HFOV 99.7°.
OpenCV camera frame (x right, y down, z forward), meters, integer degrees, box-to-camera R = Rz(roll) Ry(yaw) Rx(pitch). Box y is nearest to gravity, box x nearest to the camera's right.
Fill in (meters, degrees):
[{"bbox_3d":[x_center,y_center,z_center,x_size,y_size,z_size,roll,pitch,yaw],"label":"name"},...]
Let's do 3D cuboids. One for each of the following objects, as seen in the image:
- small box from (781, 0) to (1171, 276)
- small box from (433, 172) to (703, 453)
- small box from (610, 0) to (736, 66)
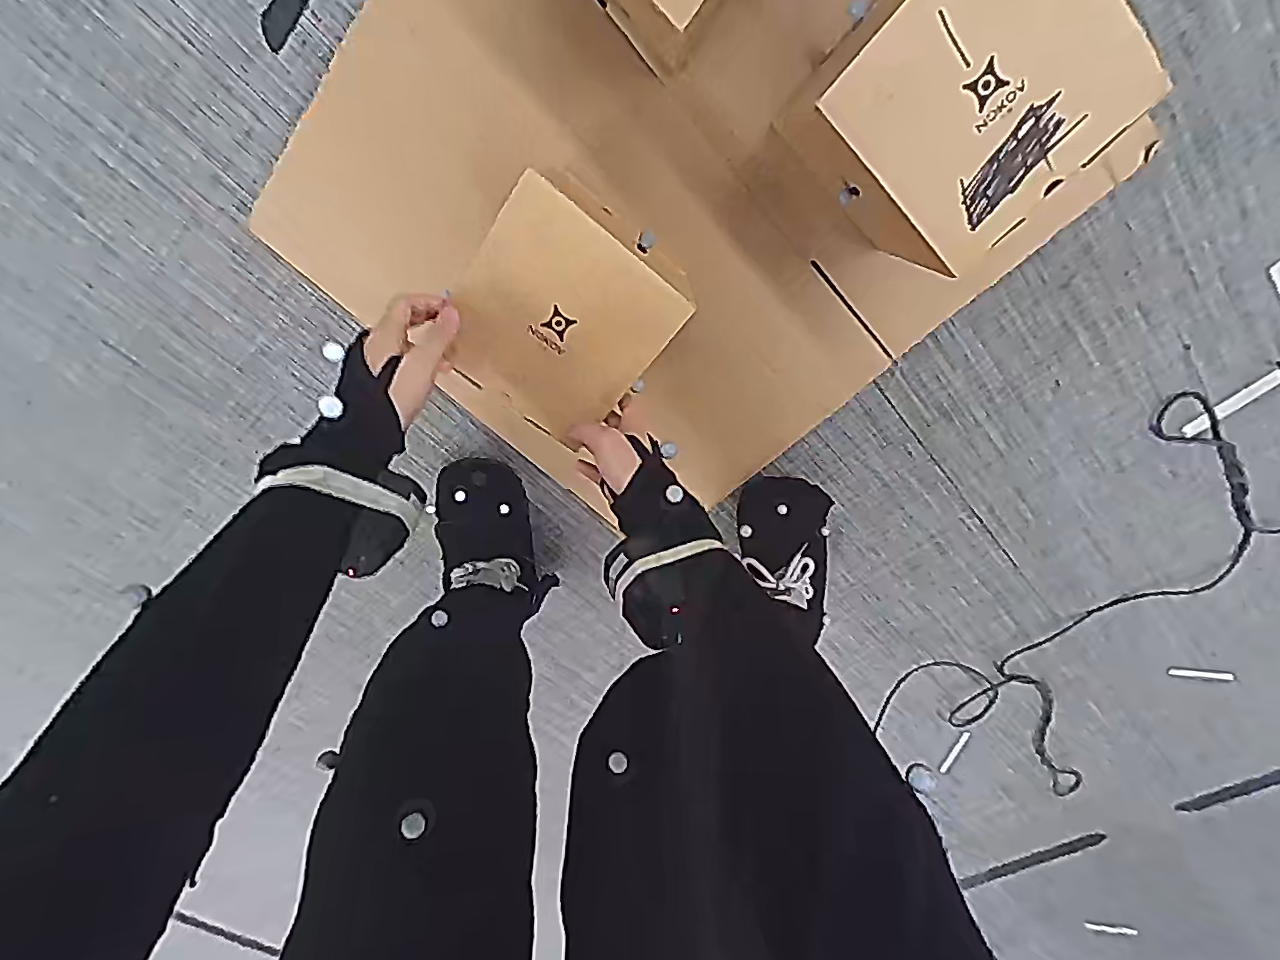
[{"bbox_3d":[0.242,-0.301,0.436,0.179,0.176,0.168,38,114,-18],"label":"small box"},{"bbox_3d":[-0.063,-0.165,0.519,0.168,0.176,0.179,33,116,-17],"label":"small box"},{"bbox_3d":[0.029,-0.436,0.368,0.168,0.176,0.179,37,114,-17],"label":"small box"}]
